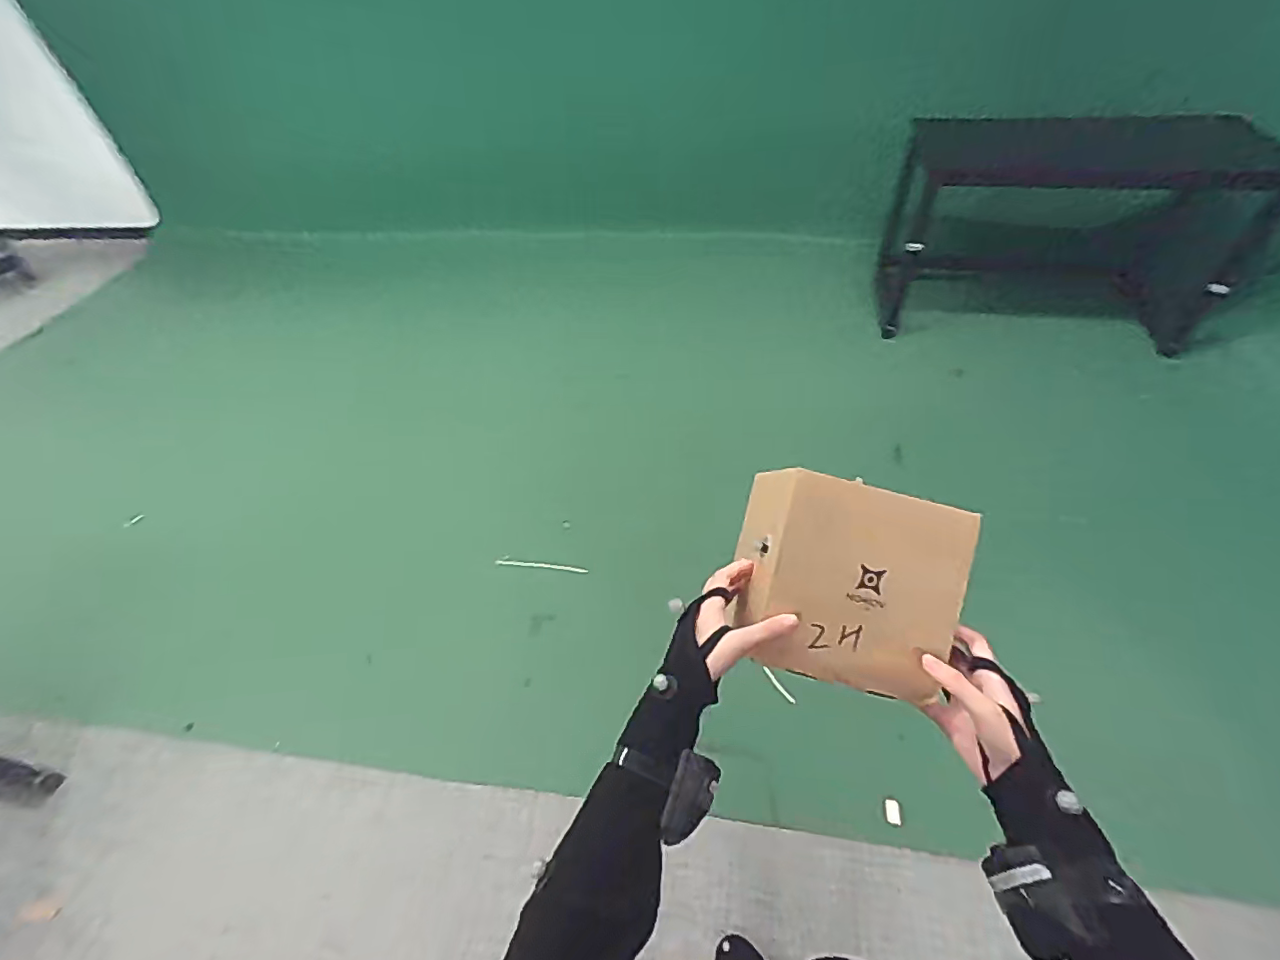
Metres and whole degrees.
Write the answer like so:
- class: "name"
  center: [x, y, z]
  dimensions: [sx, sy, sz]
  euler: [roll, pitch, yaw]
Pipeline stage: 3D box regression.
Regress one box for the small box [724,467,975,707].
- class: "small box"
  center: [0.191, 0.094, 0.545]
  dimensions: [0.168, 0.176, 0.179]
  euler: [15, 88, 0]
